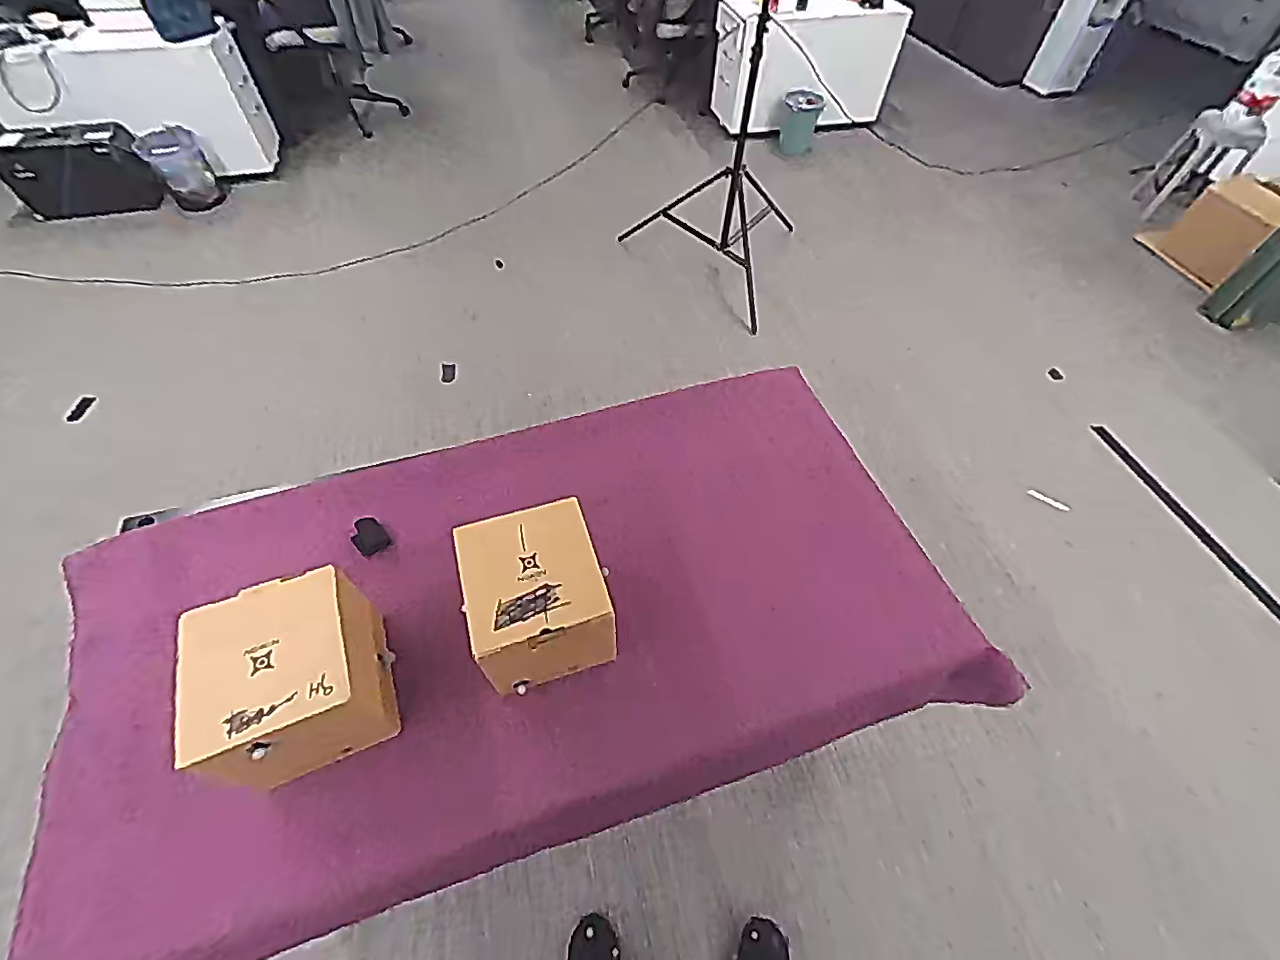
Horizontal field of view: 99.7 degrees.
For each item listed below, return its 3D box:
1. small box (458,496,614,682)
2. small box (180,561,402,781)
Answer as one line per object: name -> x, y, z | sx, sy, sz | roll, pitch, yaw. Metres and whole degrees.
small box -> -0.134, 0.153, 0.727 | 0.168, 0.176, 0.179 | -14, 55, -12
small box -> -0.409, 0.234, 0.657 | 0.168, 0.176, 0.179 | -19, 56, -15
